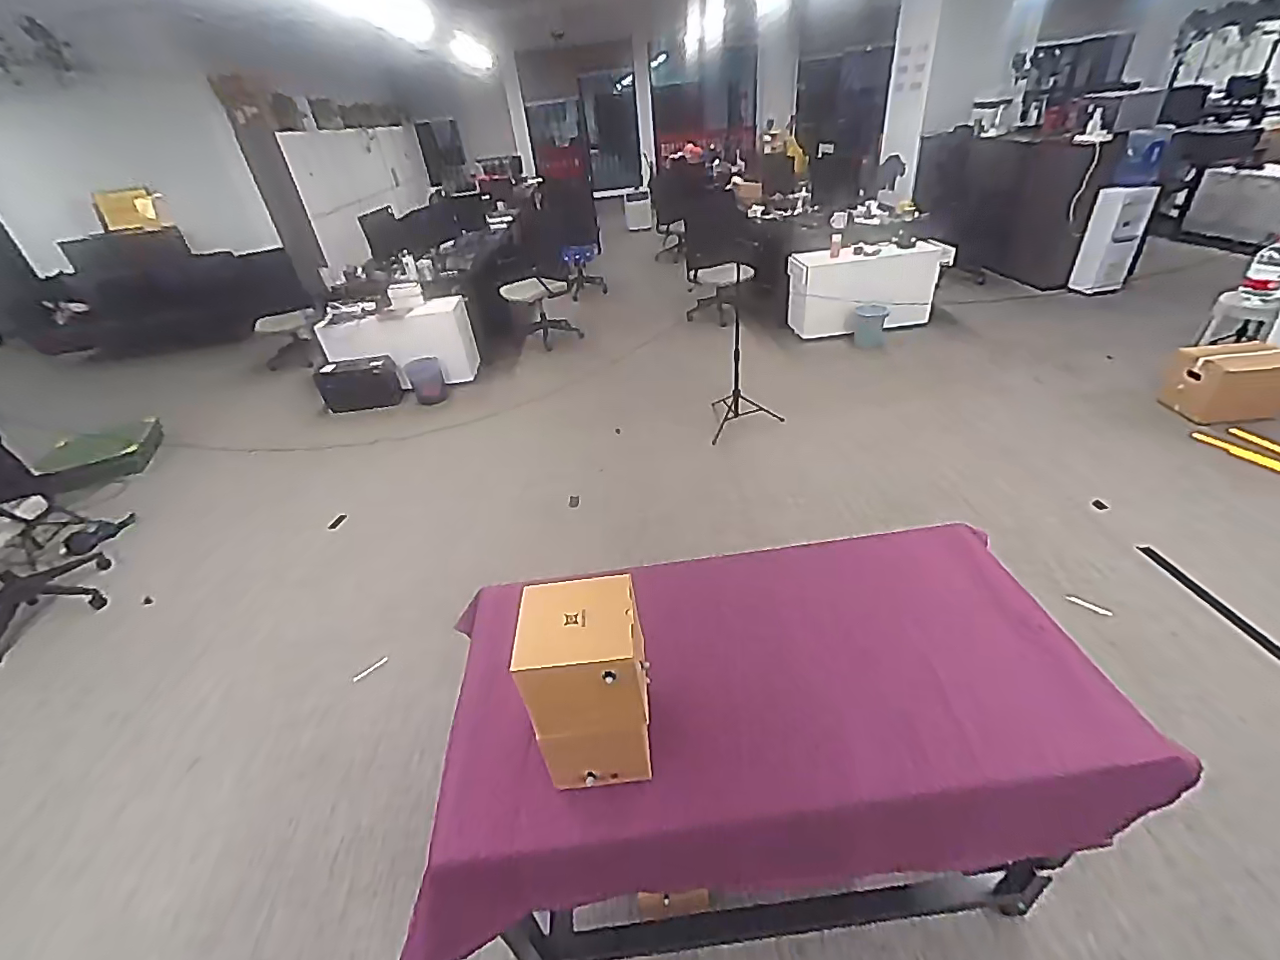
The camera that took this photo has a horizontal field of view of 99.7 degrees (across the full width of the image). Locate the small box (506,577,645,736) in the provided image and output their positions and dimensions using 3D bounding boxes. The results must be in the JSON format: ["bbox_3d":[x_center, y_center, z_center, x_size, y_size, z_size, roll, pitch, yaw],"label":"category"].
[{"bbox_3d":[-0.090,0.275,0.840,0.179,0.176,0.168,-7,34,1],"label":"small box"}]

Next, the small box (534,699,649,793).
[{"bbox_3d":[-0.077,0.406,0.936,0.168,0.176,0.179,-7,35,1],"label":"small box"}]
